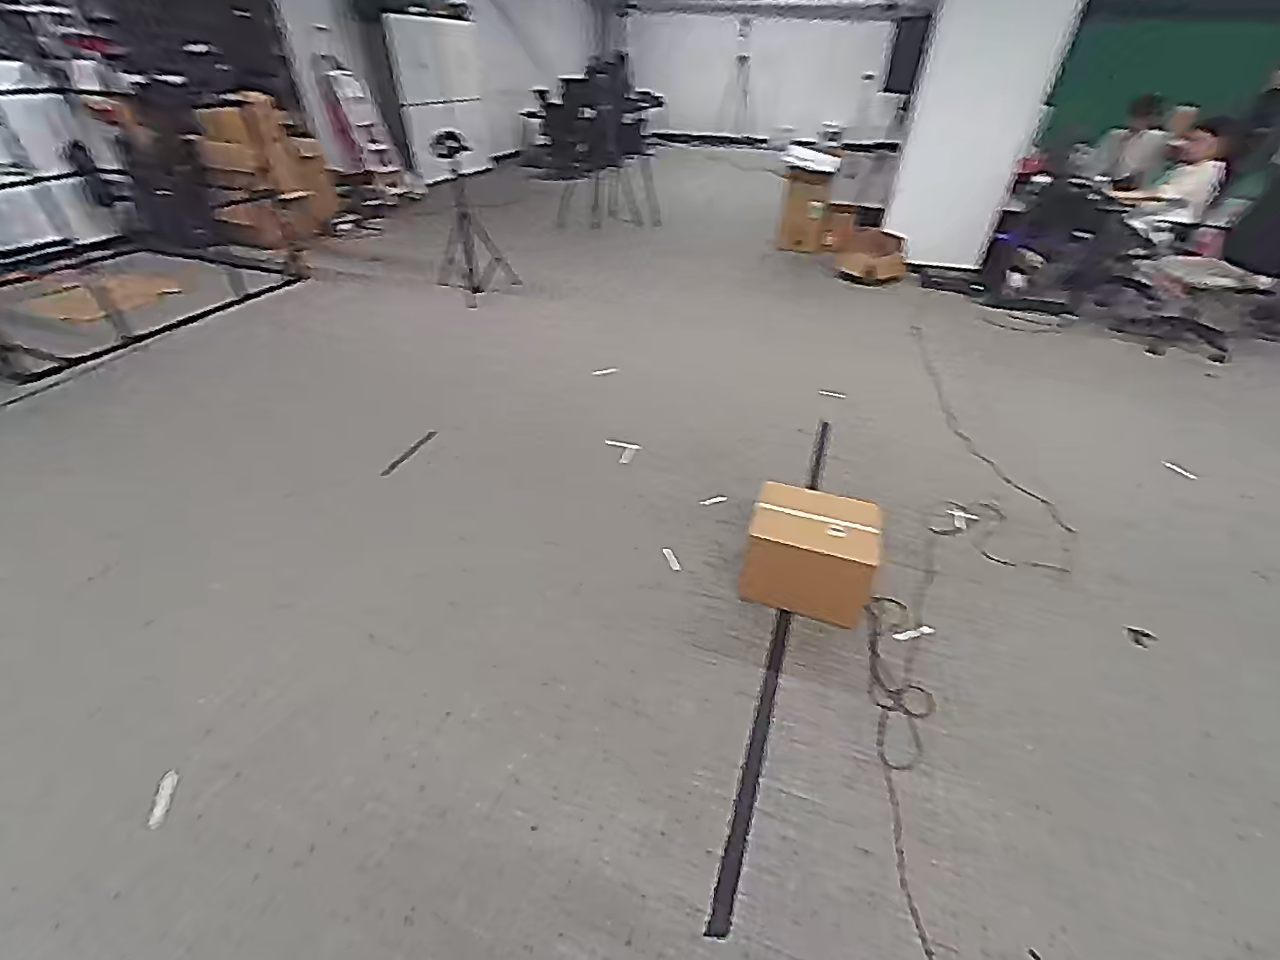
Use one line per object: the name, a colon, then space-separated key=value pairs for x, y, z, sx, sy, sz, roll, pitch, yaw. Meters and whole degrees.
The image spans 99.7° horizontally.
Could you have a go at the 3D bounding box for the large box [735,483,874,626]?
large box: x=0.572 y=0.255 z=1.903 sx=0.408 sy=0.320 sz=0.320 roll=13 pitch=39 yaw=15
